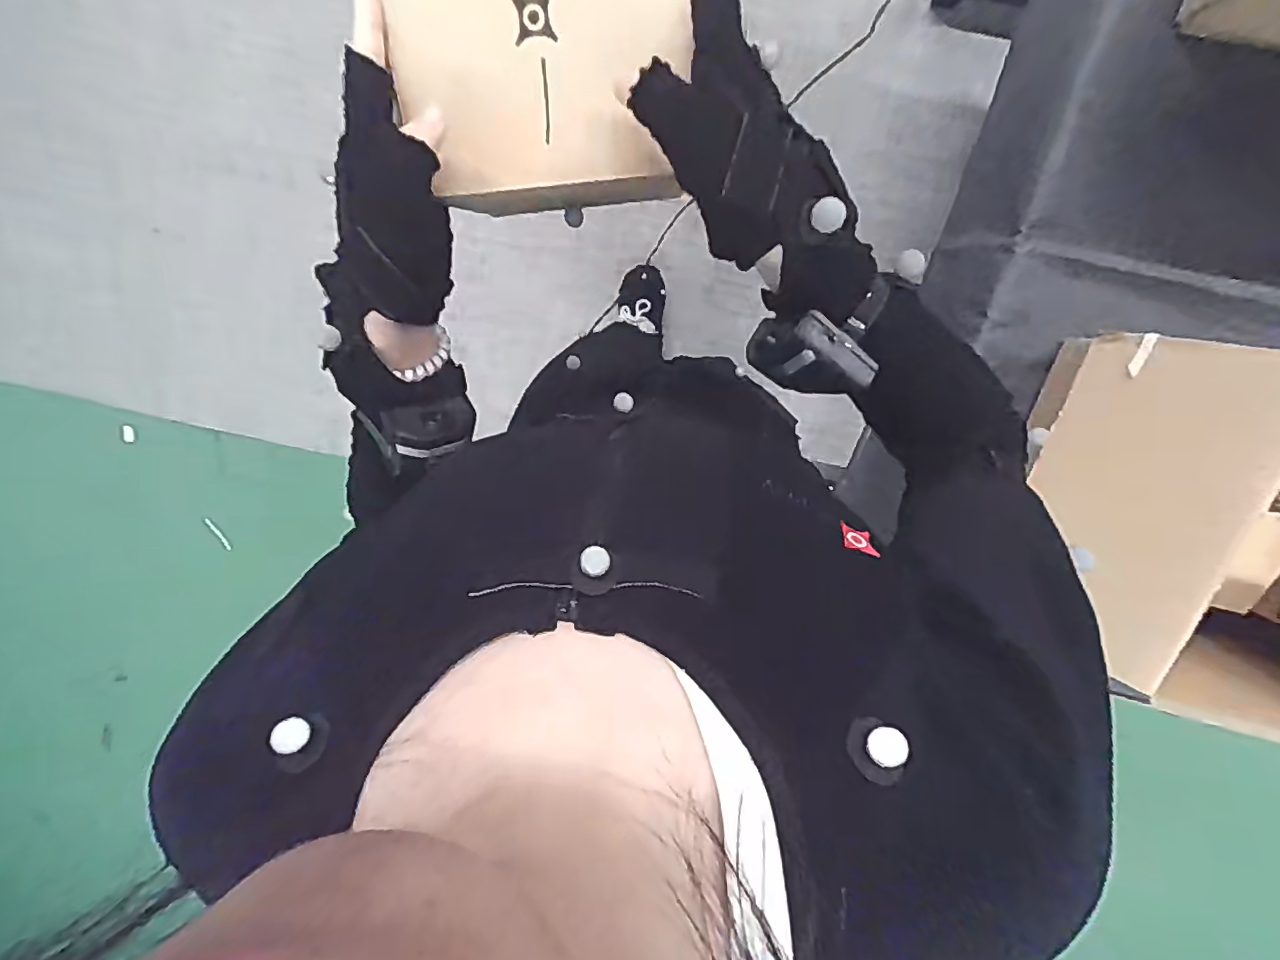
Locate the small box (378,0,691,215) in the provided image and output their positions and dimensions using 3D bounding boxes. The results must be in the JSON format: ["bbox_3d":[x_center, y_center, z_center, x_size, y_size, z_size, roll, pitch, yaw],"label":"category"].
[{"bbox_3d":[-0.058,-0.284,0.360,0.168,0.176,0.179,-4,113,1],"label":"small box"}]
